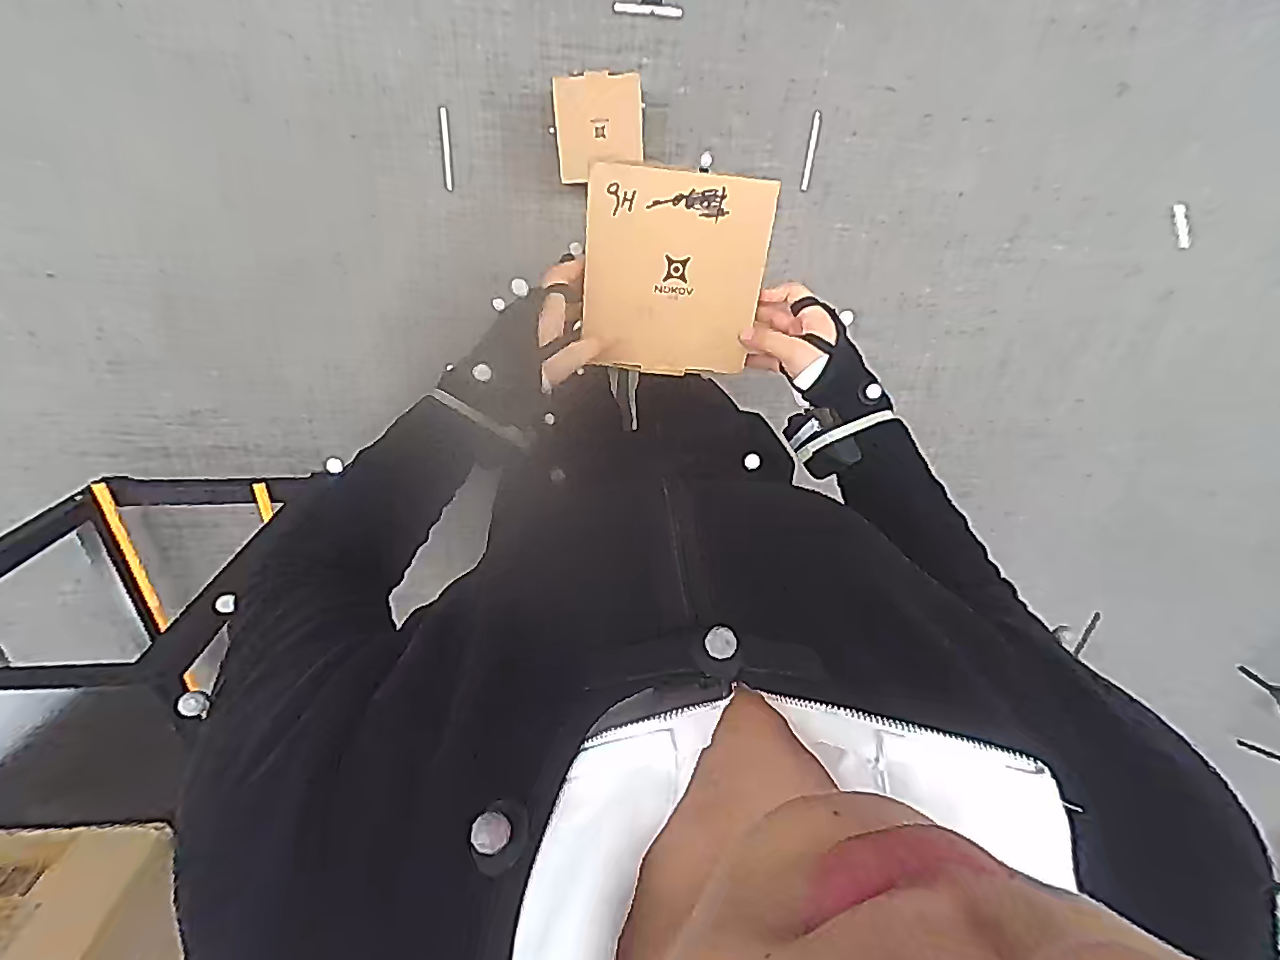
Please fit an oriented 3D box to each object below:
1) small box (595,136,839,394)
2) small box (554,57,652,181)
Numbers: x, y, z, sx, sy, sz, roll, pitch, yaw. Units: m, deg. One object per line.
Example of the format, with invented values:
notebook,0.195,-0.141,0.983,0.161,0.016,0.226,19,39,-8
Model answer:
small box,0.046,-0.194,0.482,0.168,0.176,0.179,2,123,-7
small box,-0.069,-0.665,1.013,0.168,0.176,0.179,-5,120,-3
